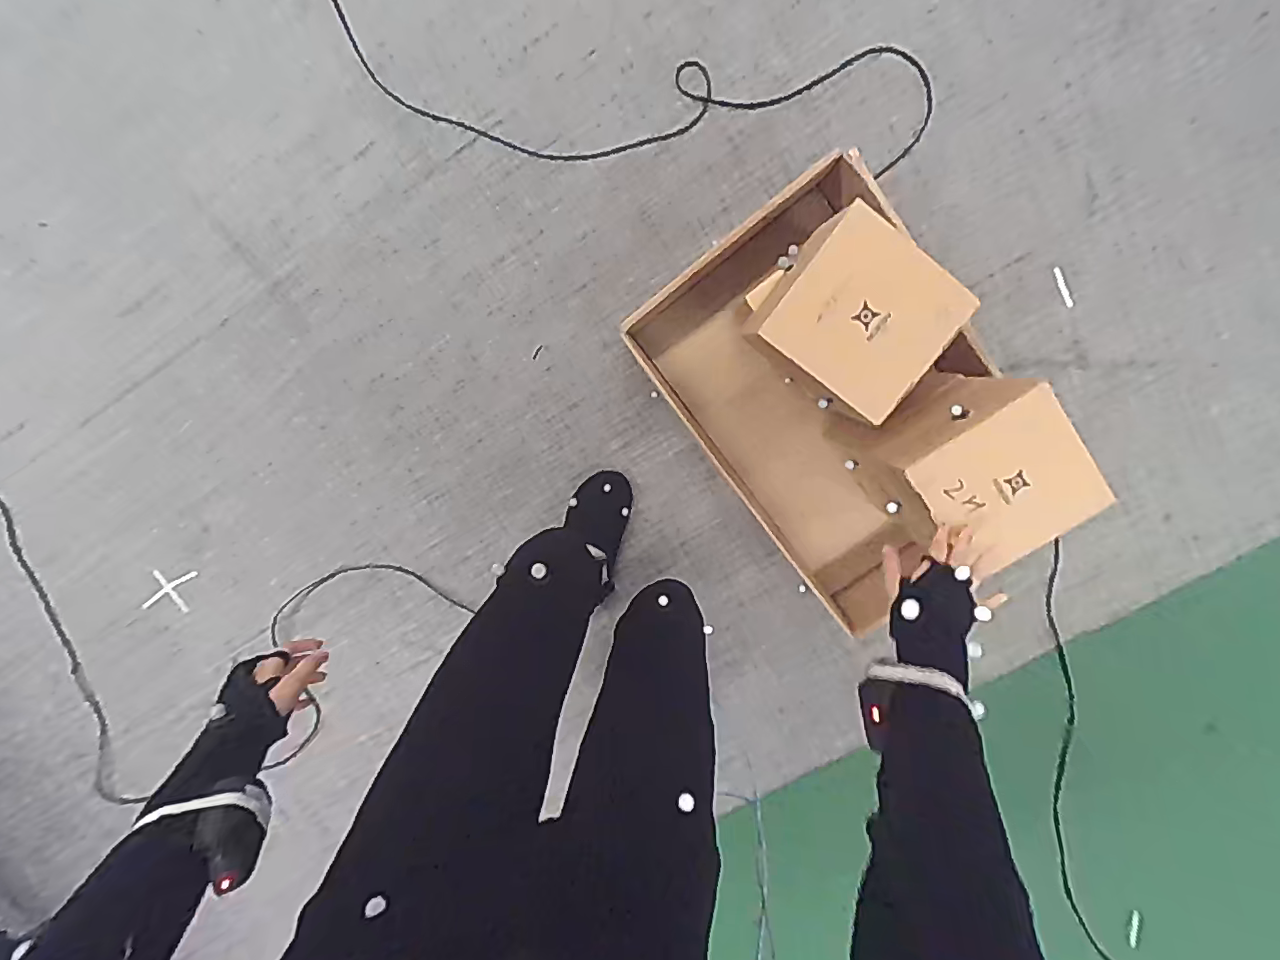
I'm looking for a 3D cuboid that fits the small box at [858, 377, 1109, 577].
[{"bbox_3d":[0.412,-0.016,0.681,0.179,0.176,0.168,-35,99,10],"label":"small box"}]
